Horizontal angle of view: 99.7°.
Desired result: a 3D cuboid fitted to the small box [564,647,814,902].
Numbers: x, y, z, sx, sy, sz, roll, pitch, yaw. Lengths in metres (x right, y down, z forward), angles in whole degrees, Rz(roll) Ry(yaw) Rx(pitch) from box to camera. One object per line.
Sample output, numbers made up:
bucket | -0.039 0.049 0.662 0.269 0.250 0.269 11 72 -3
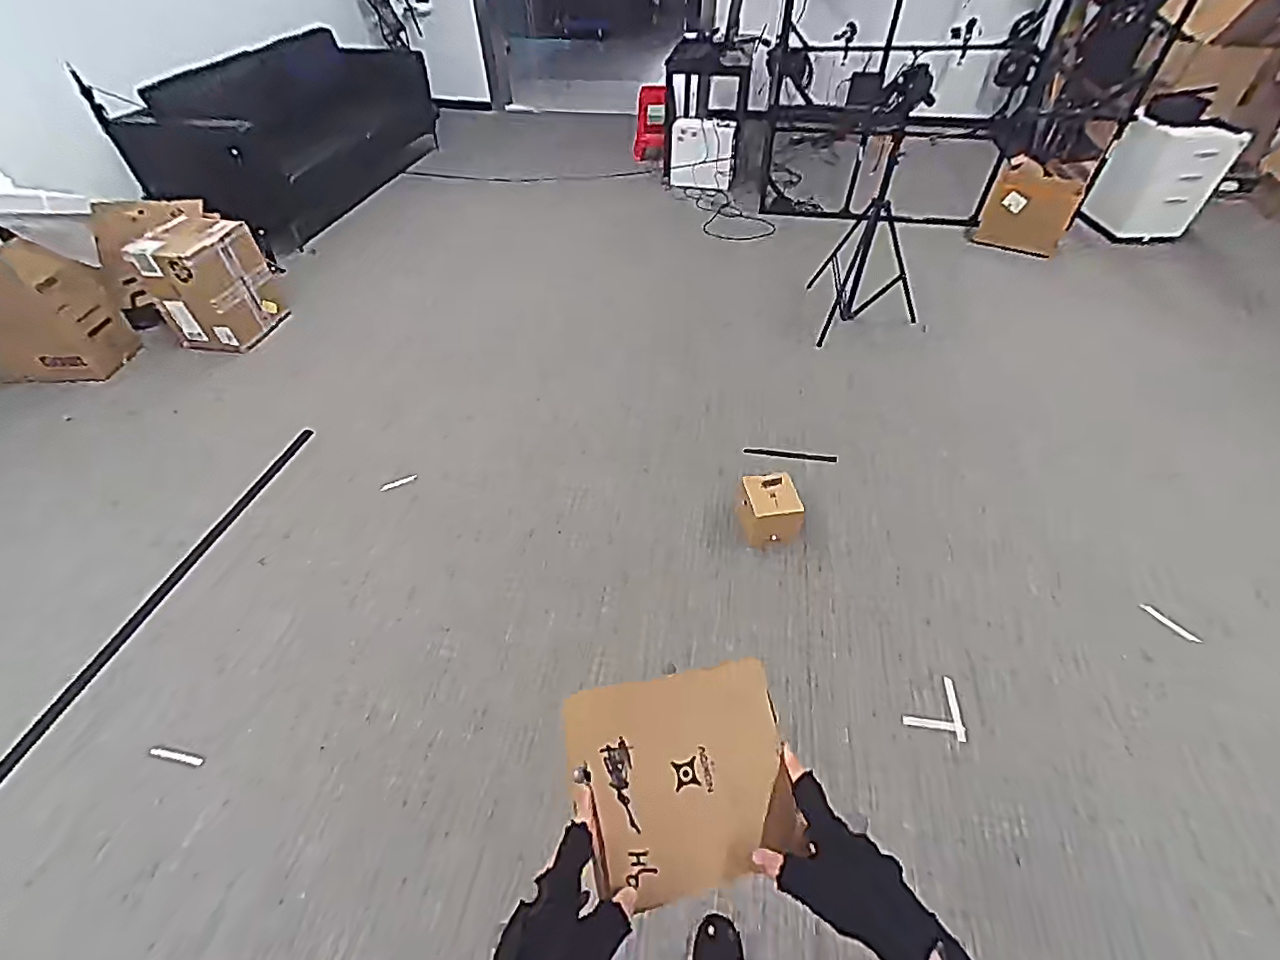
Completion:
small box | 0.031 0.269 0.528 0.179 0.176 0.168 -5 66 -18

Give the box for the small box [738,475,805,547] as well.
small box | 0.442 0.107 1.855 0.168 0.176 0.179 -7 48 -5
